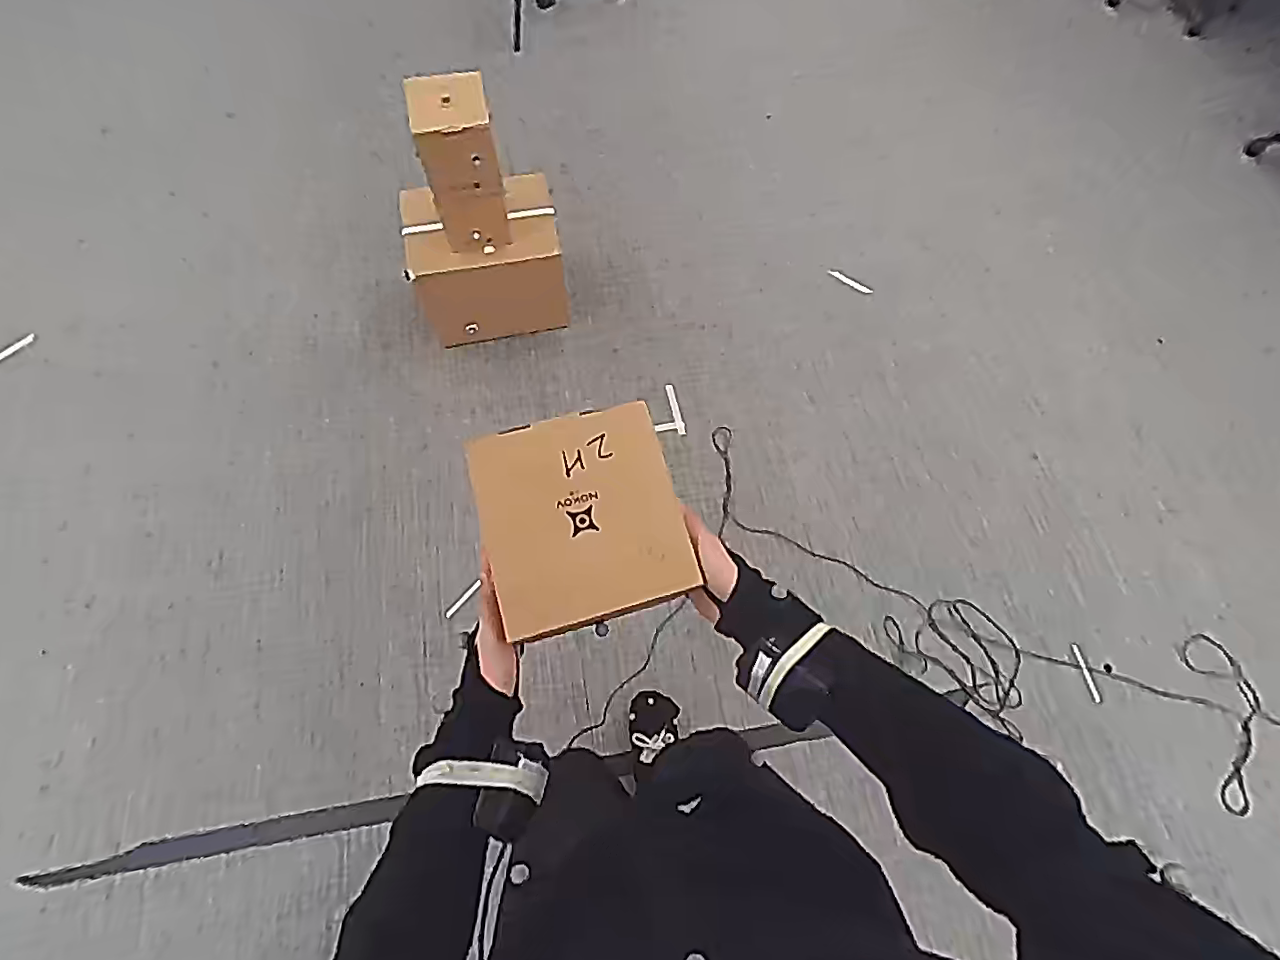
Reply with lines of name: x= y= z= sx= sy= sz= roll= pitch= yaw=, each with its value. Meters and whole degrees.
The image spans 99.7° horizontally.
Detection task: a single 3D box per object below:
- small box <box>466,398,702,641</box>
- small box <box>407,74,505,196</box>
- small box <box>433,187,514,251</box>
small box: x=-0.055 y=0.048 z=0.529 sx=0.168 sy=0.176 sz=0.179 roll=-15 pitch=75 yaw=-11
small box: x=-0.412 y=-0.776 z=1.232 sx=0.168 sy=0.176 sz=0.179 roll=-12 pitch=69 yaw=-8
small box: x=-0.426 y=-0.722 z=1.385 sx=0.168 sy=0.176 sz=0.179 roll=-12 pitch=70 yaw=-7
